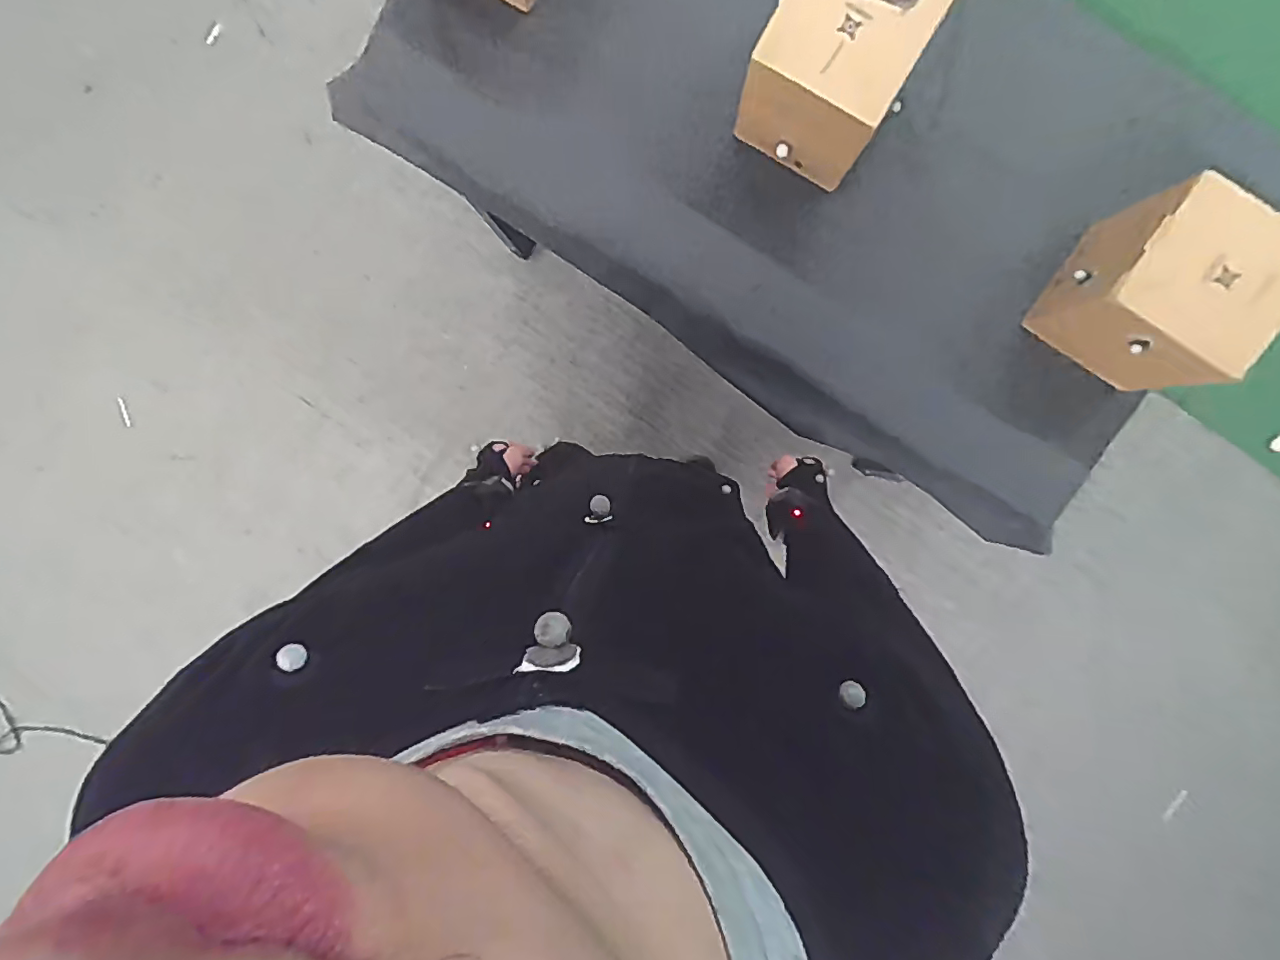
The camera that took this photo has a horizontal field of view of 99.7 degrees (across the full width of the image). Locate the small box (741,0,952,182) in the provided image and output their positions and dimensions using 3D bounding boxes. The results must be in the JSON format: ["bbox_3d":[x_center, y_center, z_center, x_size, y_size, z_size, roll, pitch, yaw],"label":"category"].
[{"bbox_3d":[0.240,-0.519,0.670,0.168,0.176,0.179,31,97,0],"label":"small box"}]

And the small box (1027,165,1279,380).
[{"bbox_3d":[0.645,-0.237,0.674,0.179,0.176,0.168,34,98,-1],"label":"small box"}]
